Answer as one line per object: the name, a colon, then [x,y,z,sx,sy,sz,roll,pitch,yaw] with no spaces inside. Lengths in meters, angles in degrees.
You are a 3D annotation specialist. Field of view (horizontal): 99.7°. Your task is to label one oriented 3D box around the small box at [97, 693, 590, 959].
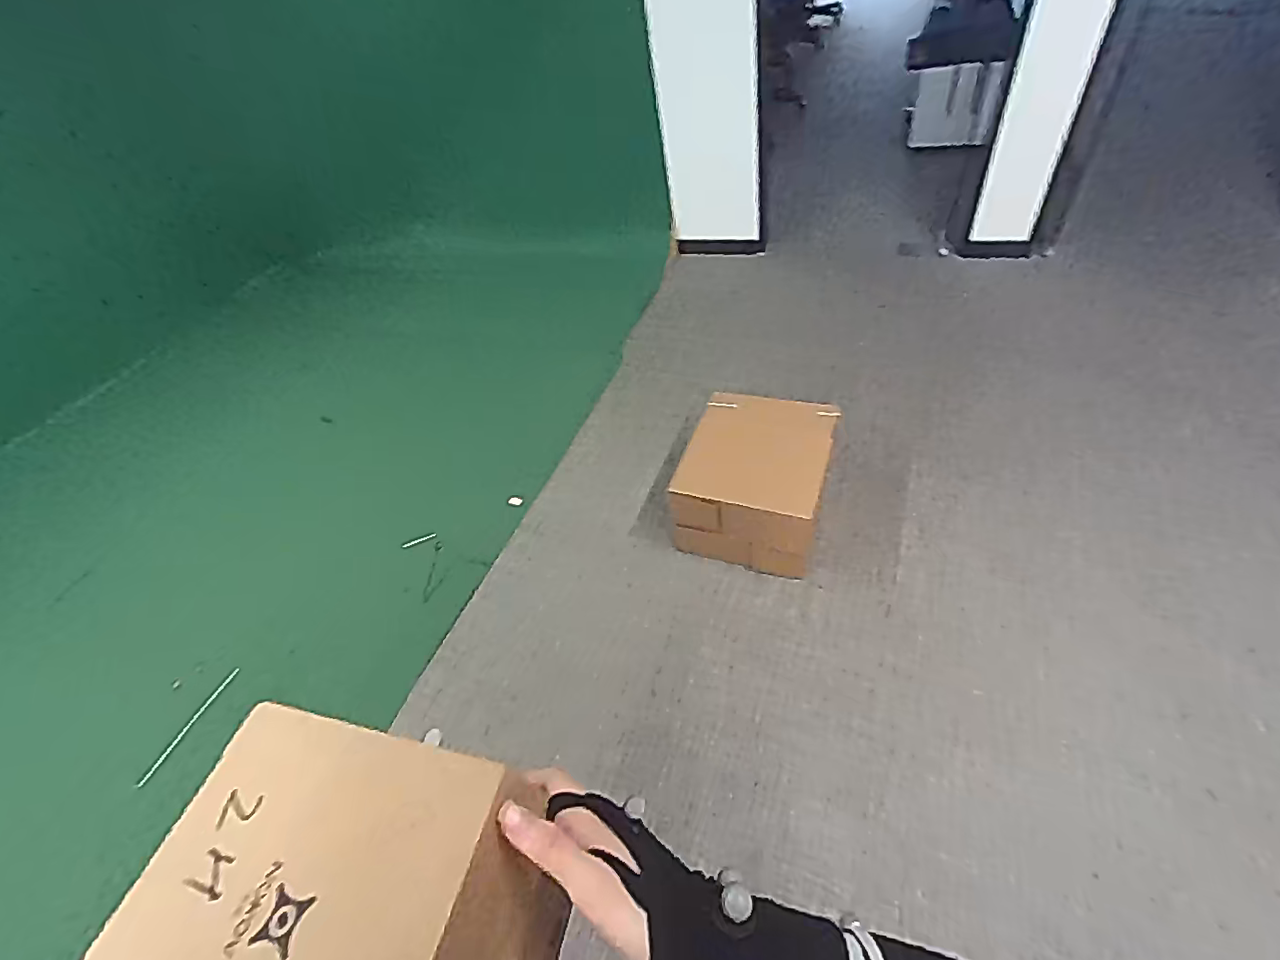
small box: [-0.148,0.253,0.317,0.179,0.176,0.168,4,48,20]
